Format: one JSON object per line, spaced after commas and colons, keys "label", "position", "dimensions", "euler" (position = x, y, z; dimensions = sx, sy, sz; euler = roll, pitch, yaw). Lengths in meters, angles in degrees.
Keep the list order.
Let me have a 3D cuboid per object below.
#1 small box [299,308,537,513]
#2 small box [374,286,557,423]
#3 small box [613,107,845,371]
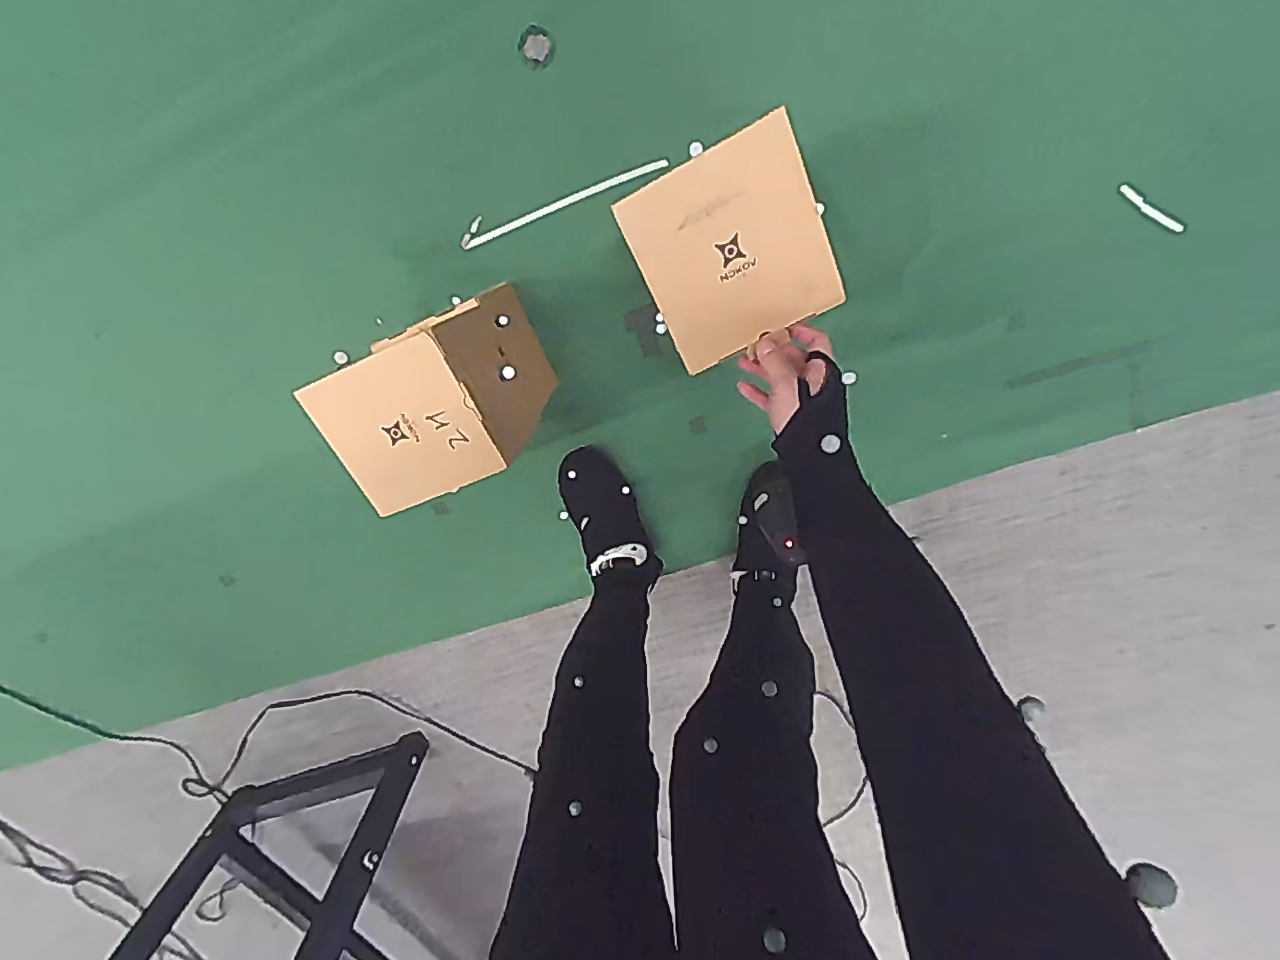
{"label": "small box", "position": [-0.248, -0.090, 0.654], "dimensions": [0.179, 0.176, 0.168], "euler": [-20, 114, 12]}
{"label": "small box", "position": [-0.240, -0.166, 0.799], "dimensions": [0.168, 0.176, 0.179], "euler": [-20, 112, 12]}
{"label": "small box", "position": [0.087, -0.244, 0.564], "dimensions": [0.168, 0.176, 0.179], "euler": [-24, 113, 12]}
